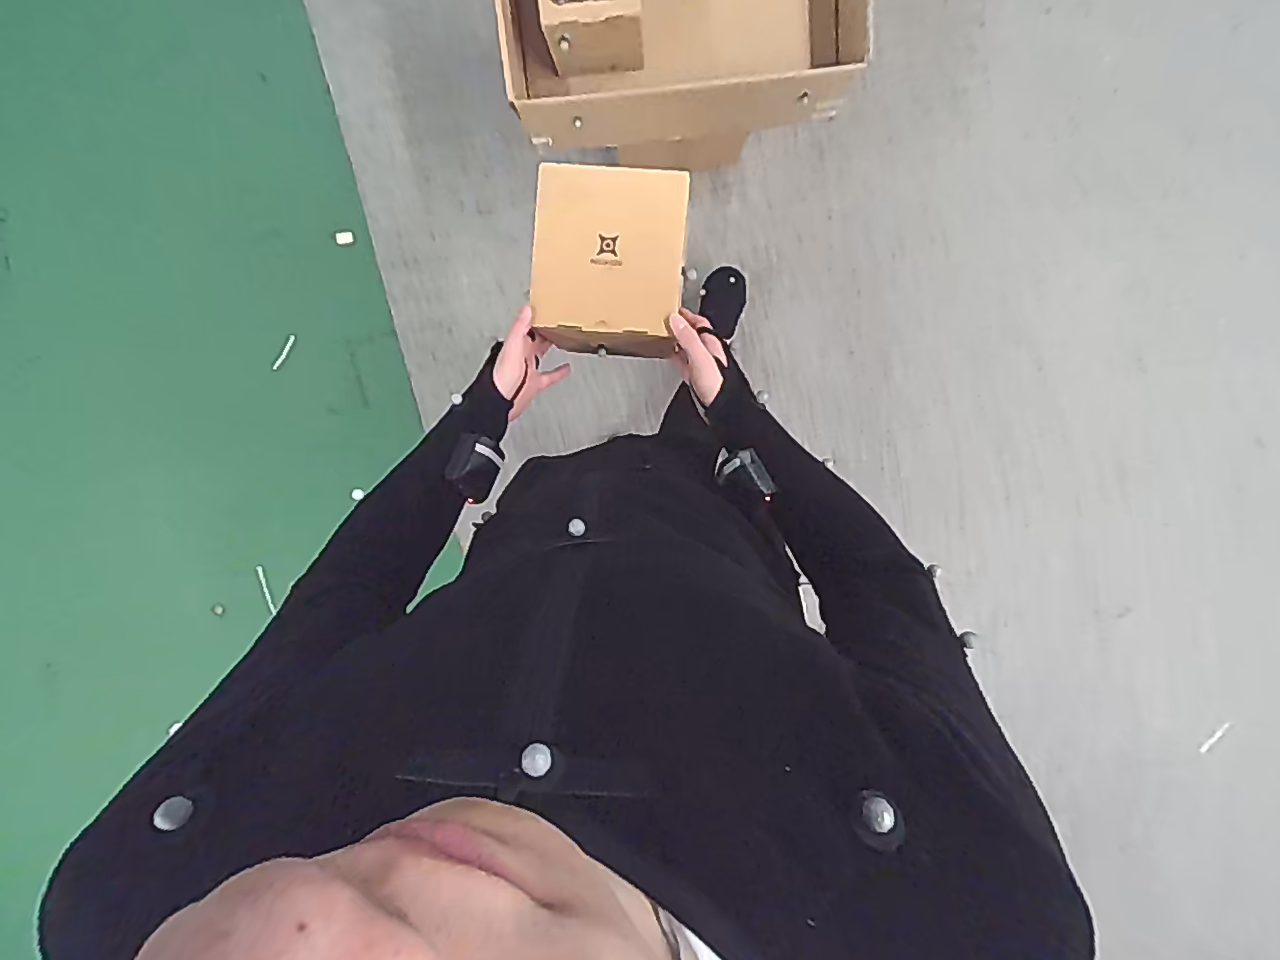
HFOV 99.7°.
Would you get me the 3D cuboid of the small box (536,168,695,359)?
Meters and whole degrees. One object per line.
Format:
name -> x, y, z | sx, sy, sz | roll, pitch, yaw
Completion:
small box -> -0.027, -0.254, 0.673 | 0.168, 0.176, 0.179 | 5, 96, 2
